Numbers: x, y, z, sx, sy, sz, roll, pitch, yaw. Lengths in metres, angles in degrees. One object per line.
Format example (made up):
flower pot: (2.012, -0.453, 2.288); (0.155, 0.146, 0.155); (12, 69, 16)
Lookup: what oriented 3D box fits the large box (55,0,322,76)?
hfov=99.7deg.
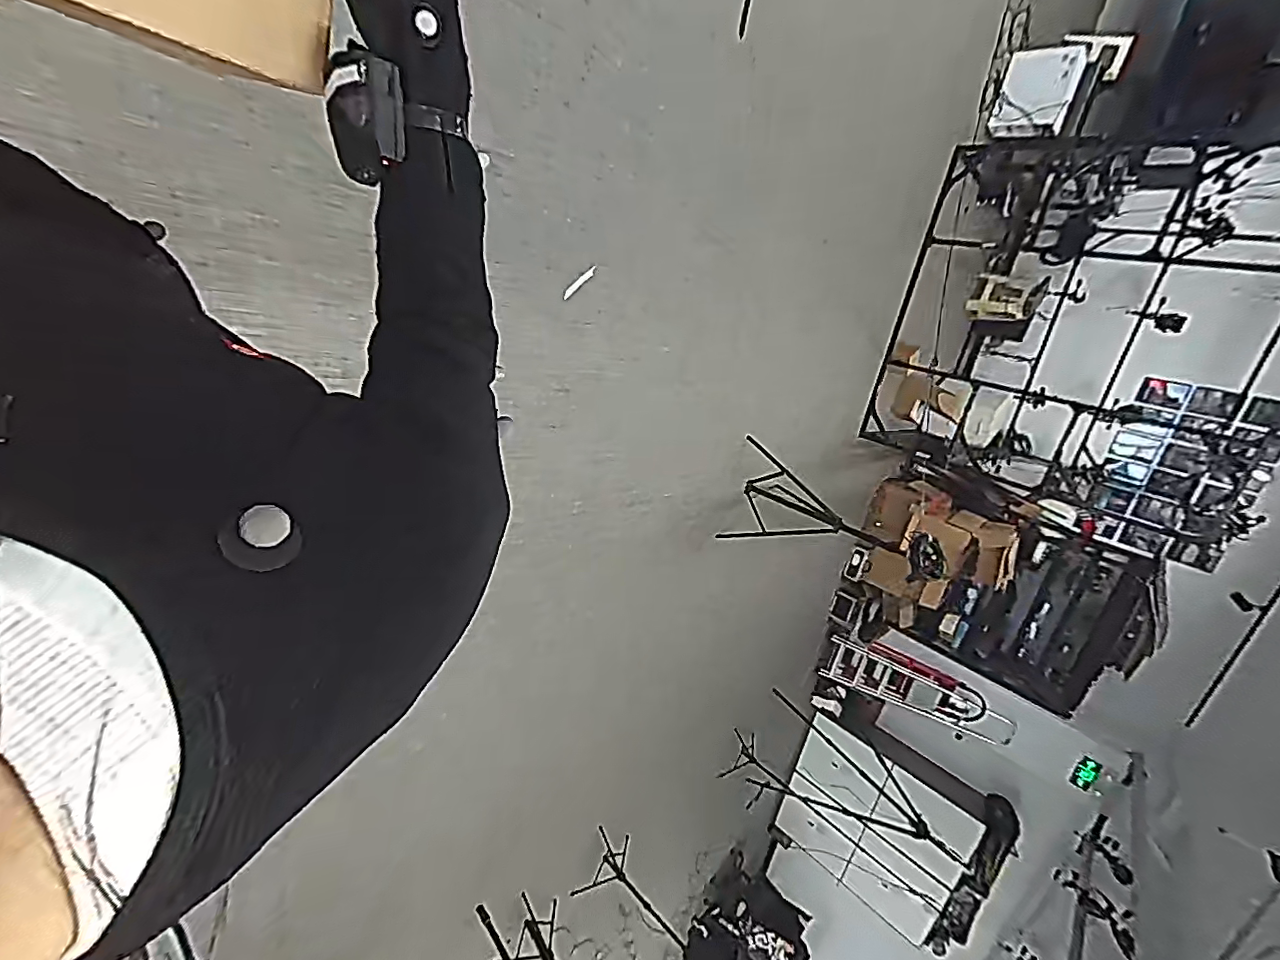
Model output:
large box: (-0.409, -0.458, 0.251); (0.408, 0.320, 0.320); (-6, 125, -46)
